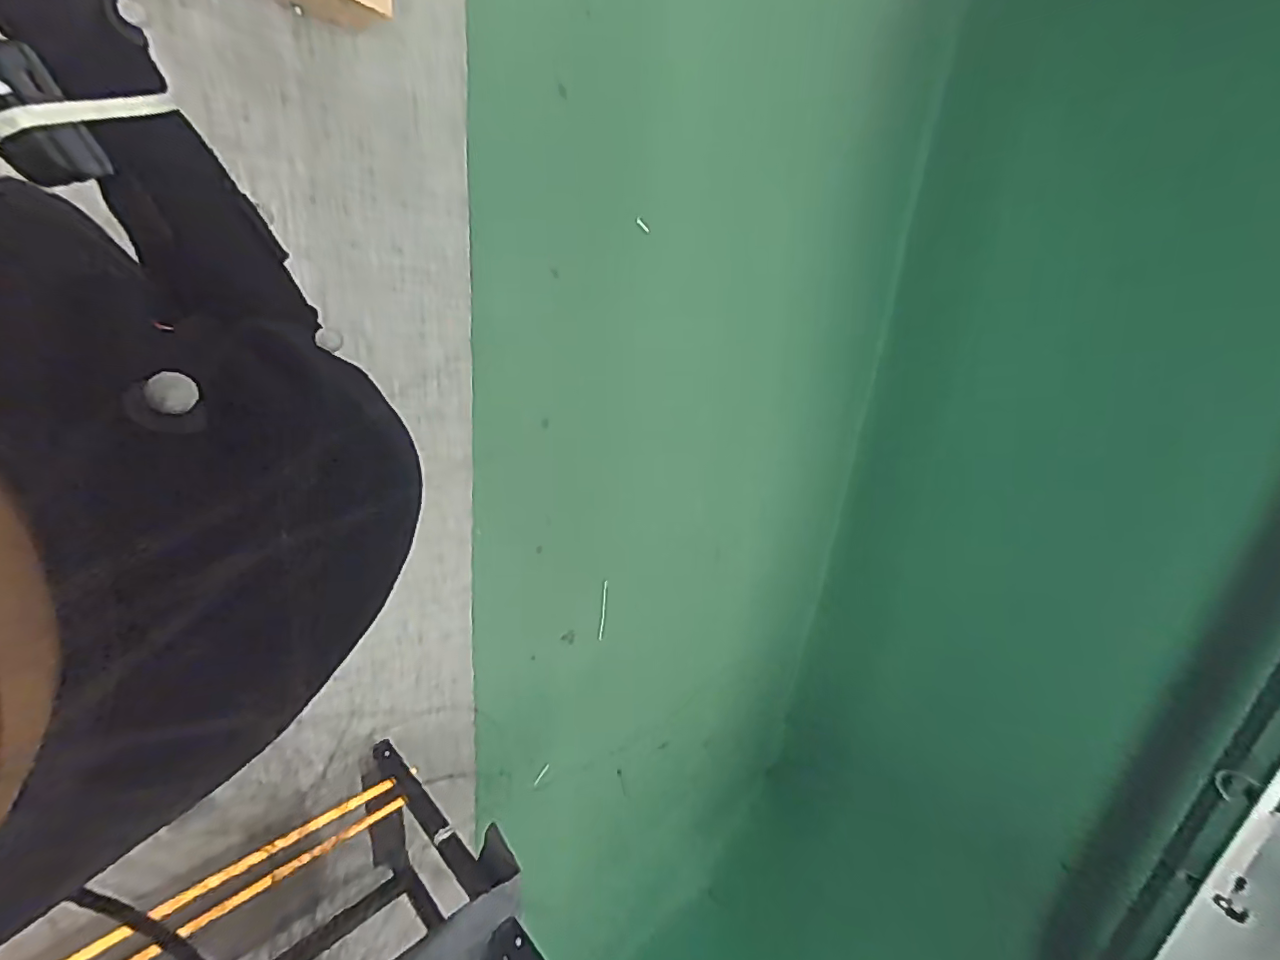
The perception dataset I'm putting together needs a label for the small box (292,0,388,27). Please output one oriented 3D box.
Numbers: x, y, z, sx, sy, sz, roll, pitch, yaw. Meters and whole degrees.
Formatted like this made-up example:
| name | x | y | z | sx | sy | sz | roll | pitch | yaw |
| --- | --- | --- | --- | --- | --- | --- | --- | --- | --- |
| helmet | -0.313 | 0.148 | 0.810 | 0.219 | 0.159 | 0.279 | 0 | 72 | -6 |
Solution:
| name | x | y | z | sx | sy | sz | roll | pitch | yaw |
| --- | --- | --- | --- | --- | --- | --- | --- | --- | --- |
| small box | -0.611 | -1.033 | 1.056 | 0.168 | 0.176 | 0.179 | -13 | 117 | -46 |
